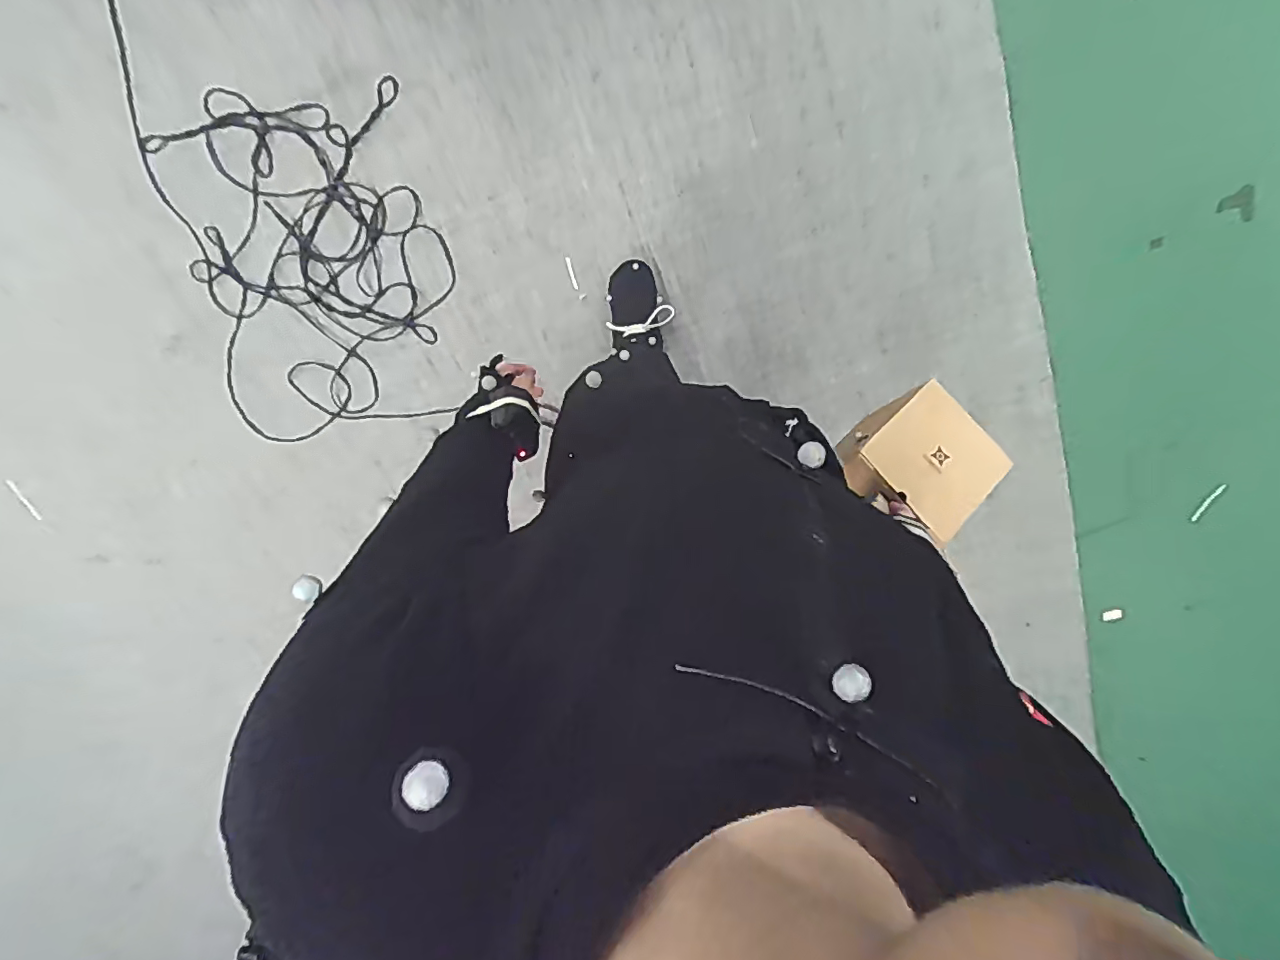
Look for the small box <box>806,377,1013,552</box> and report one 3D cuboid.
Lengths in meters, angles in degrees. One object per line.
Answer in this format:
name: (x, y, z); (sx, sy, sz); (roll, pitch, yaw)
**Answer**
small box: (0.382, -0.013, 0.793); (0.179, 0.176, 0.168); (-41, 87, -17)
